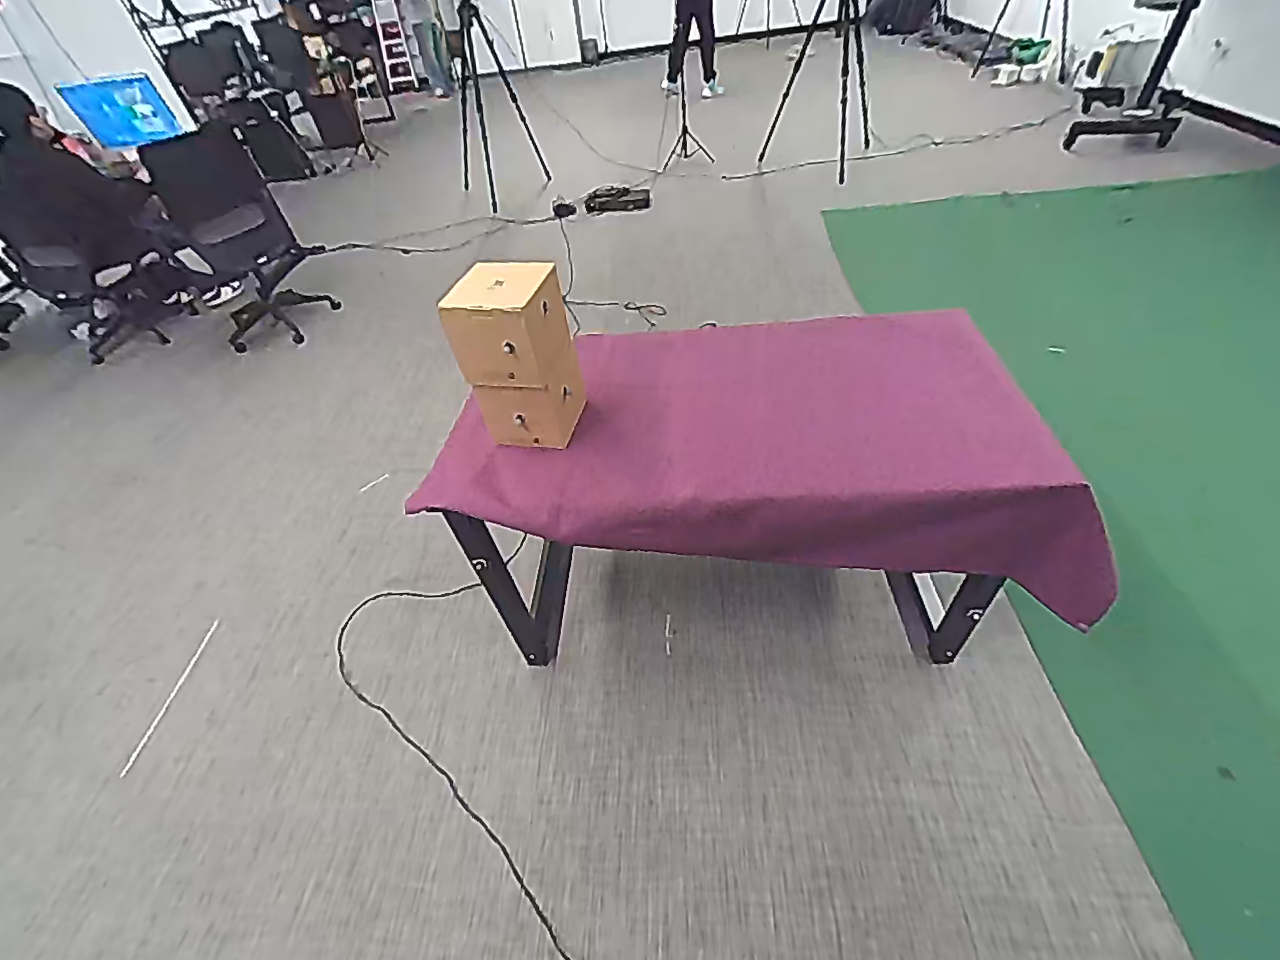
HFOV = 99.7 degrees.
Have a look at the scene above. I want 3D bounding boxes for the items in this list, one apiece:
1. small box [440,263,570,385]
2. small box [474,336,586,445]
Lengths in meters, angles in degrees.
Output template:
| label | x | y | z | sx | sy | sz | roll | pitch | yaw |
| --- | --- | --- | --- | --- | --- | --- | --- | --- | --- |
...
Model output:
| label | x | y | z | sx | sy | sz | roll | pitch | yaw |
| --- | --- | --- | --- | --- | --- | --- | --- | --- | --- |
| small box | -0.245 | -0.298 | 1.038 | 0.168 | 0.176 | 0.179 | 6 | 47 | 13 |
| small box | -0.225 | -0.192 | 1.162 | 0.168 | 0.176 | 0.179 | 5 | 48 | 12 |
